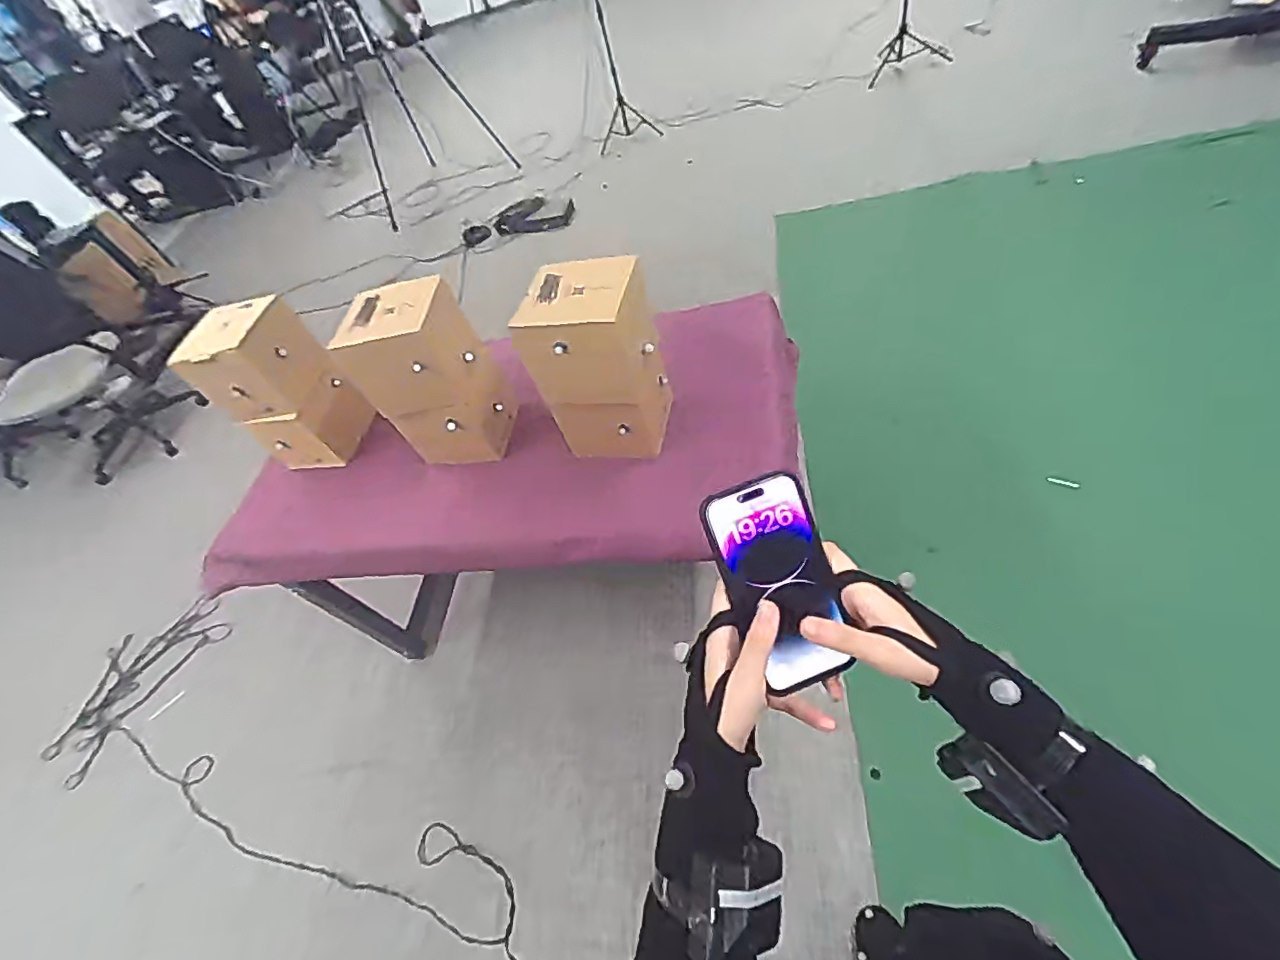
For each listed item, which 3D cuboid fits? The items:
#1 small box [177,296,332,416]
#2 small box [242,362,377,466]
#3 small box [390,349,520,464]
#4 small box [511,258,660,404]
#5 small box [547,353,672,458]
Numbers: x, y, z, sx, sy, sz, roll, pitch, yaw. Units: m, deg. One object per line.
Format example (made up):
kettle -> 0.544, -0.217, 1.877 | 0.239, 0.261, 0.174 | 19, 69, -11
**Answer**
small box -> -0.785, -0.248, 1.125 | 0.168, 0.176, 0.179 | -6, 52, 12
small box -> -0.746, -0.143, 1.246 | 0.168, 0.176, 0.179 | -3, 53, 16
small box -> -0.373, -0.148, 1.130 | 0.179, 0.176, 0.168 | -3, 52, 15
small box -> -0.079, -0.240, 0.897 | 0.179, 0.176, 0.168 | 2, 54, 18
small box -> -0.046, -0.154, 1.033 | 0.179, 0.176, 0.168 | 2, 54, 19
